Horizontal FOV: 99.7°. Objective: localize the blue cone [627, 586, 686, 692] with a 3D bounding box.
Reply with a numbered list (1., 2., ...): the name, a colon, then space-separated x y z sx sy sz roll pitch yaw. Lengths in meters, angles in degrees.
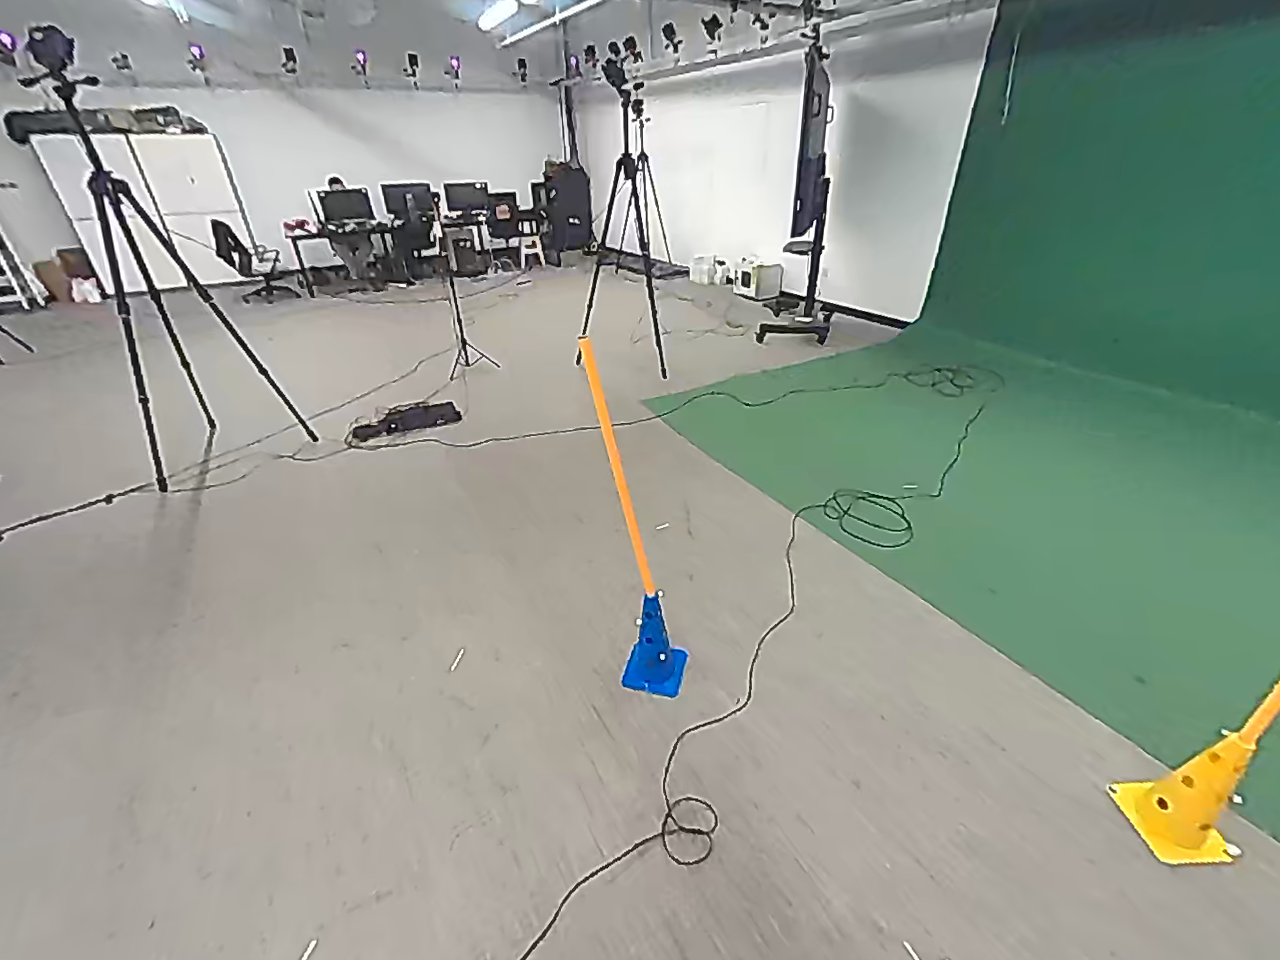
1. blue cone: 0.047 0.509 1.783 0.193 0.380 0.192 4 33 14
